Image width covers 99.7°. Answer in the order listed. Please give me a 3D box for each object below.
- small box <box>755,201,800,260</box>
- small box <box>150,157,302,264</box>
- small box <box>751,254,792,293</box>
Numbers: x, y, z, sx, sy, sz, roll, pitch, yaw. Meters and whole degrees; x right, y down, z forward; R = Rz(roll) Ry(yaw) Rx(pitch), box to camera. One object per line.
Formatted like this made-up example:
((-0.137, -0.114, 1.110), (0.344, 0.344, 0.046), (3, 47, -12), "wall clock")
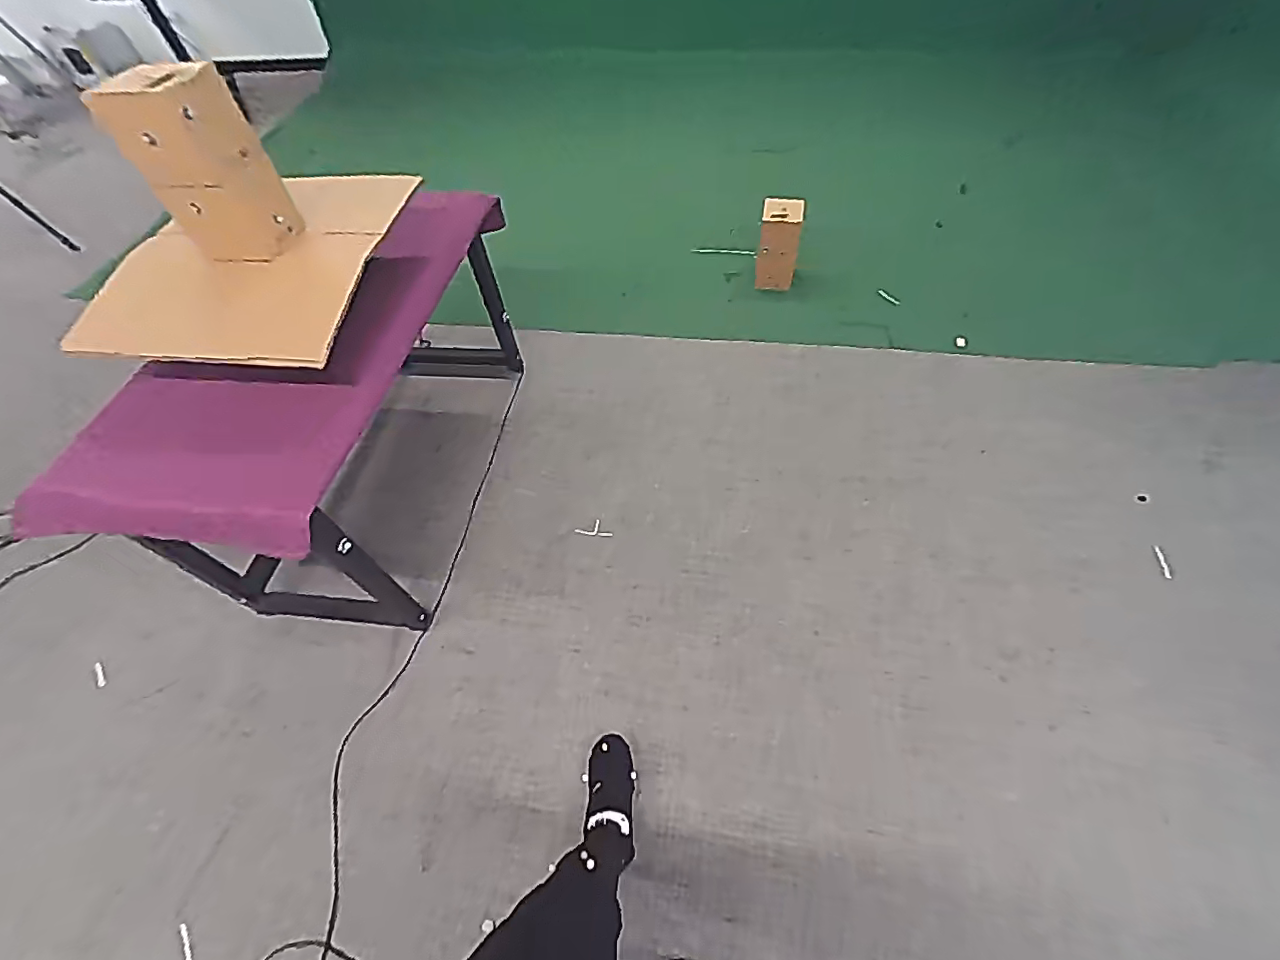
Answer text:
((0.594, -1.081, 2.345), (0.168, 0.176, 0.179), (8, 56, 9), "small box")
((-0.926, -0.610, 1.230), (0.179, 0.176, 0.168), (4, 54, 6), "small box")
((0.603, -0.987, 2.480), (0.168, 0.176, 0.179), (7, 56, 9), "small box")
